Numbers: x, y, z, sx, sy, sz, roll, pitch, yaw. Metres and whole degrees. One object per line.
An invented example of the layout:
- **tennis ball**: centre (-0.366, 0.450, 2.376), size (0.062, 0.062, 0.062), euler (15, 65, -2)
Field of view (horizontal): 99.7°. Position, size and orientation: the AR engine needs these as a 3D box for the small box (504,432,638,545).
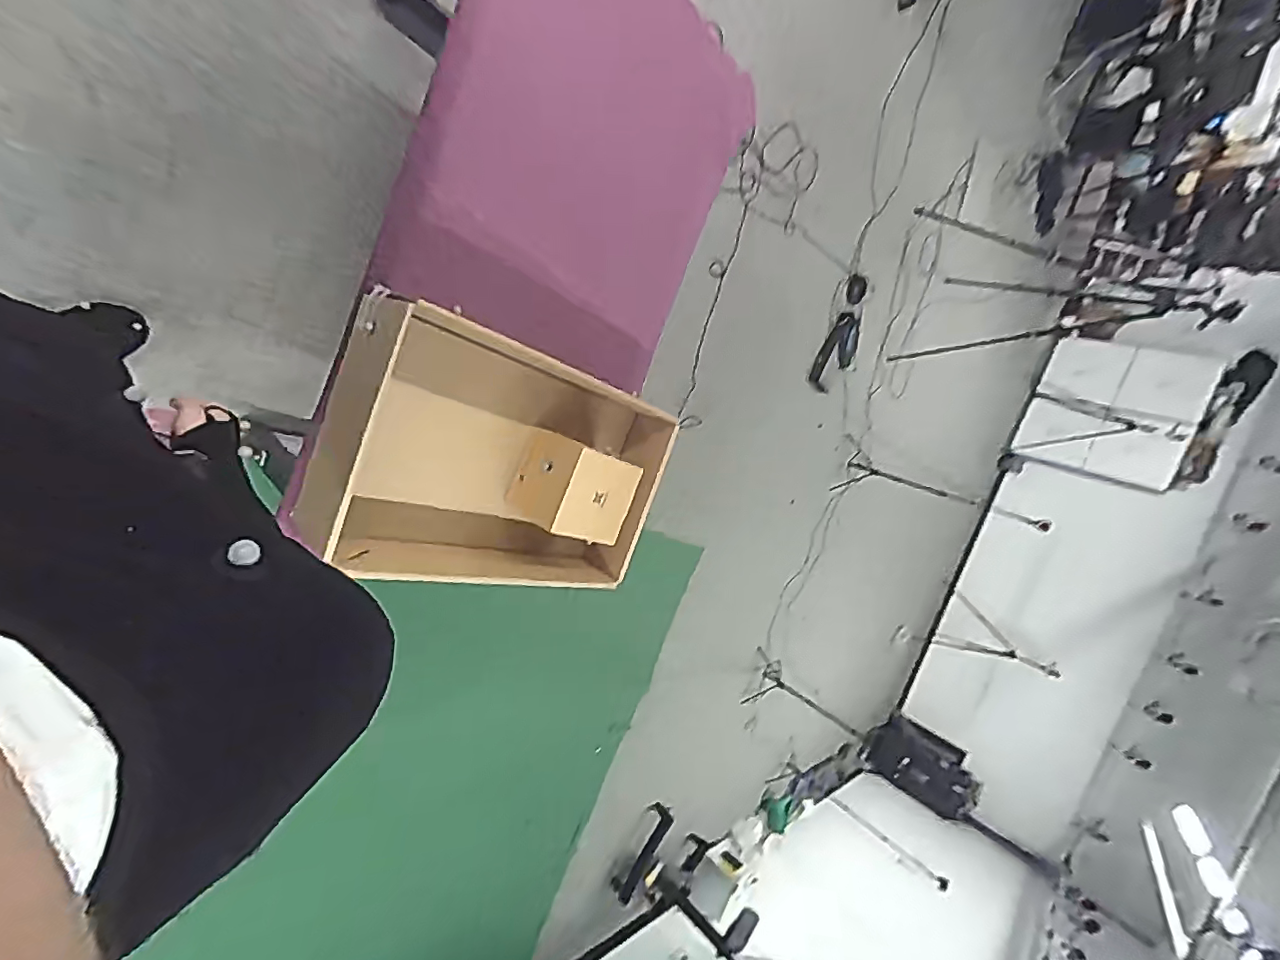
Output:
- **small box**: centre (-0.141, 0.014, 1.078), size (0.179, 0.176, 0.168), euler (20, 92, -49)
